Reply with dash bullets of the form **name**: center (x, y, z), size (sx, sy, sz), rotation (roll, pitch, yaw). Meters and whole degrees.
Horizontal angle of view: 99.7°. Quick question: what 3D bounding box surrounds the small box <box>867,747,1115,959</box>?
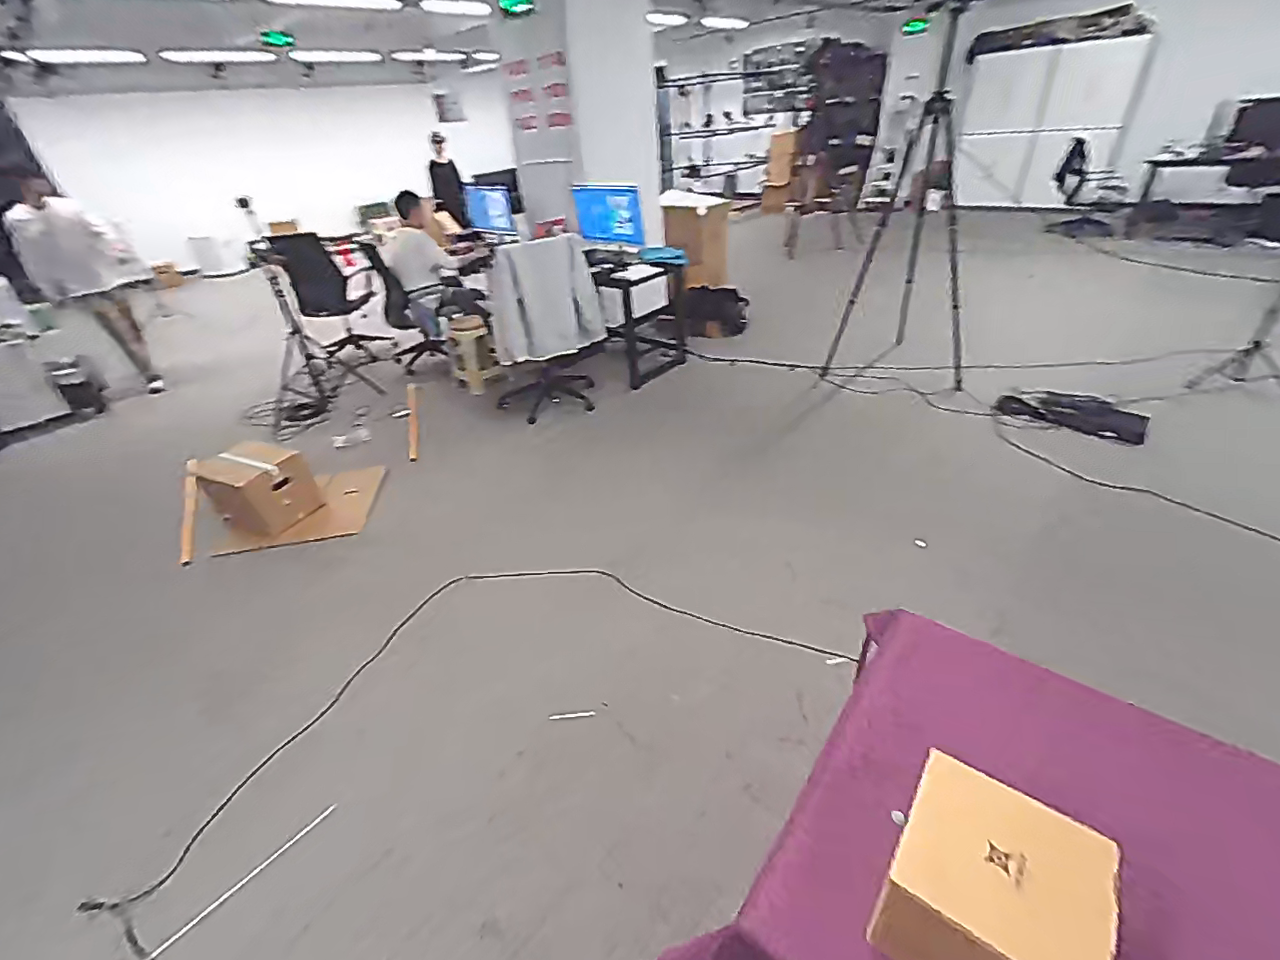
- **small box**: center (0.364, 0.441, 0.580), size (0.179, 0.176, 0.168), rotation (20, 41, 33)
